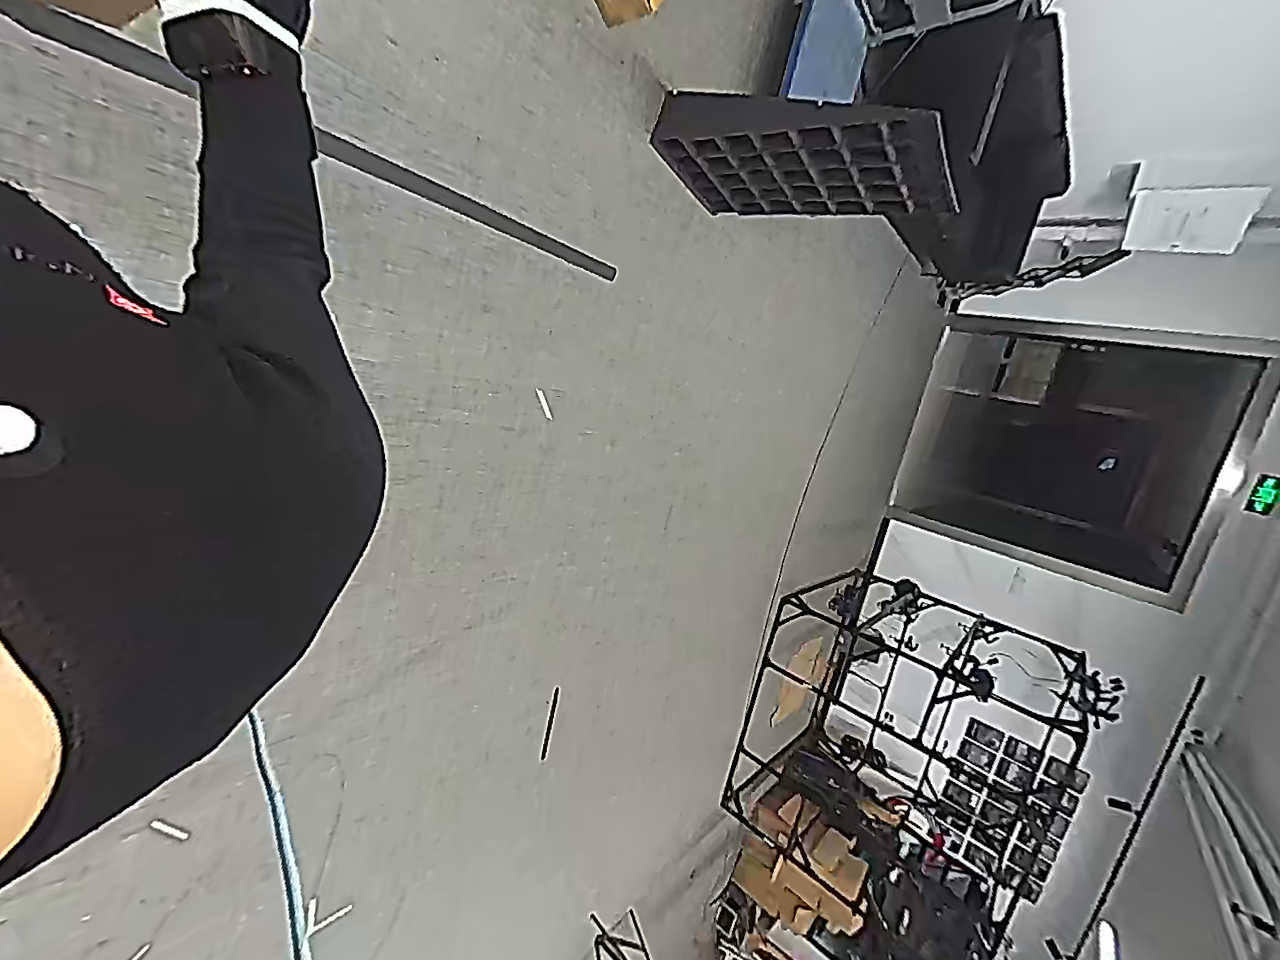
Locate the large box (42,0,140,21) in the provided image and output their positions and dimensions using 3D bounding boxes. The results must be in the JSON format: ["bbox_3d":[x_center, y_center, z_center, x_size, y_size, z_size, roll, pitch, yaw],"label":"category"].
[{"bbox_3d":[-0.508,-0.512,0.254,0.408,0.320,0.320,-12,120,-50],"label":"large box"}]
